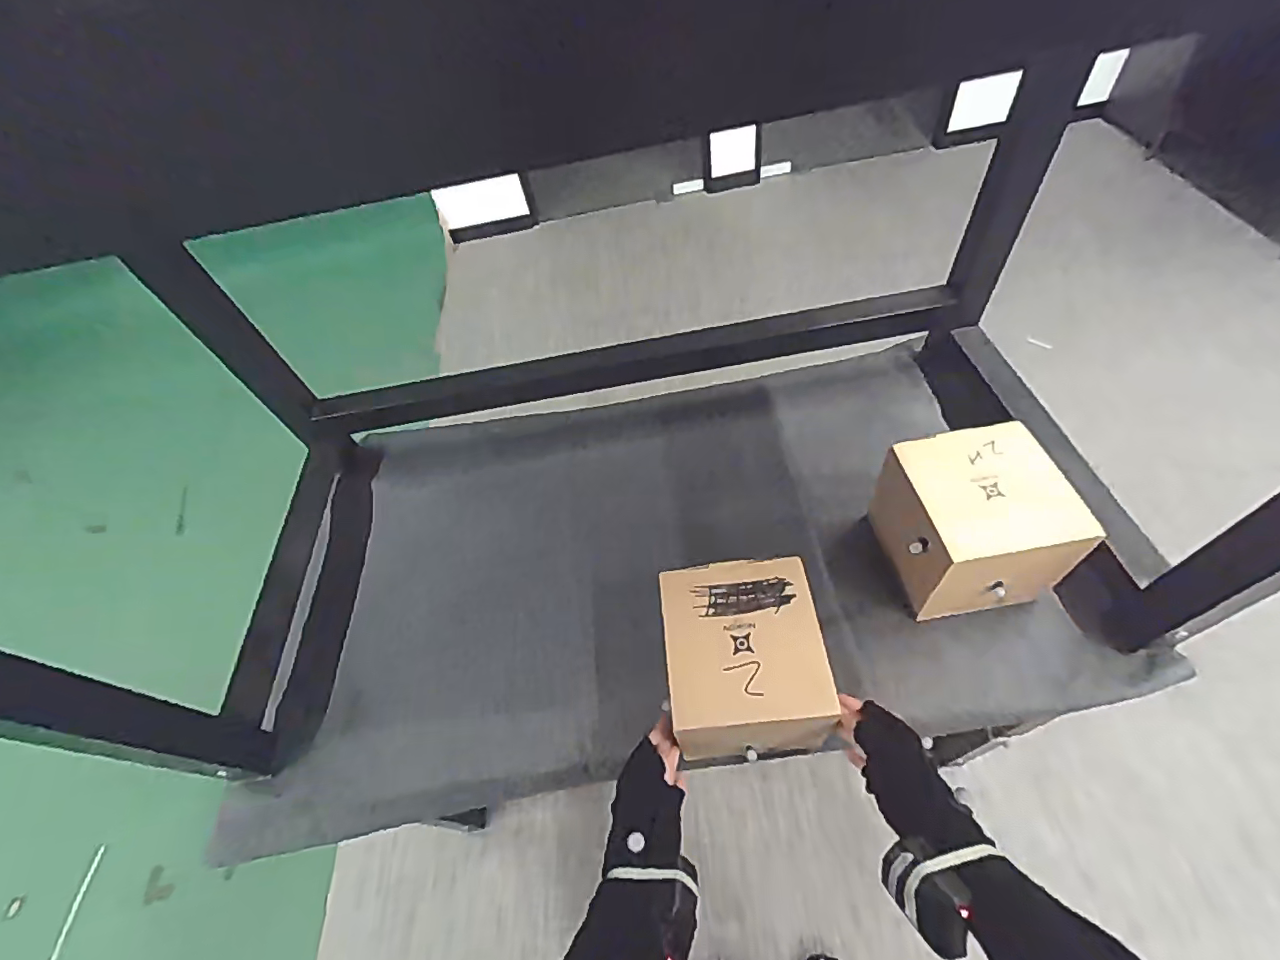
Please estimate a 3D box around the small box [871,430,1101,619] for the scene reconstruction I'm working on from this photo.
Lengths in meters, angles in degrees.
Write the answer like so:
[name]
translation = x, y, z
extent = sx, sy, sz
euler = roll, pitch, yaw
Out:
[small box]
translation = 0.423, 0.066, 0.701
extent = 0.168, 0.176, 0.179
euler = -10, 52, 2
